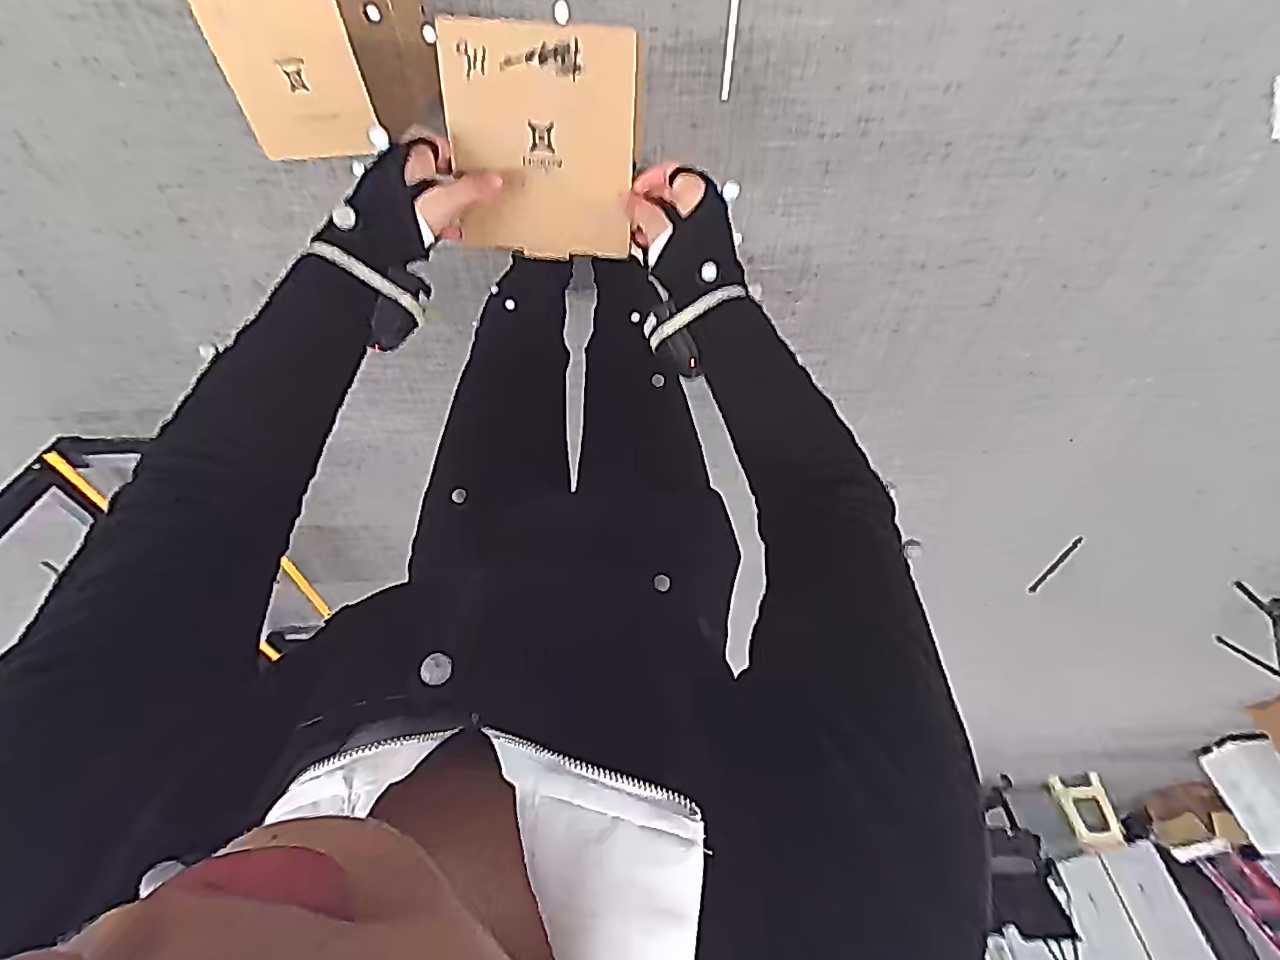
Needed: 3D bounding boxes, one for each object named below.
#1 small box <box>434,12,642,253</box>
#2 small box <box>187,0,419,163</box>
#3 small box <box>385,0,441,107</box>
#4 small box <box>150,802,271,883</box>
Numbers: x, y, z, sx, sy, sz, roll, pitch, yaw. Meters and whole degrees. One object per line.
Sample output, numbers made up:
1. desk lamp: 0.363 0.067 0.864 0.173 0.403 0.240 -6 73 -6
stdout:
1. small box: -0.087 -0.349 0.551 0.168 0.176 0.179 4 125 1
2. small box: -0.414 -0.542 0.703 0.168 0.176 0.179 -3 138 3
3. small box: -0.422 -0.662 0.811 0.179 0.176 0.168 -3 137 0
4. small box: -1.198 1.022 1.526 0.179 0.176 0.168 0 137 -1
